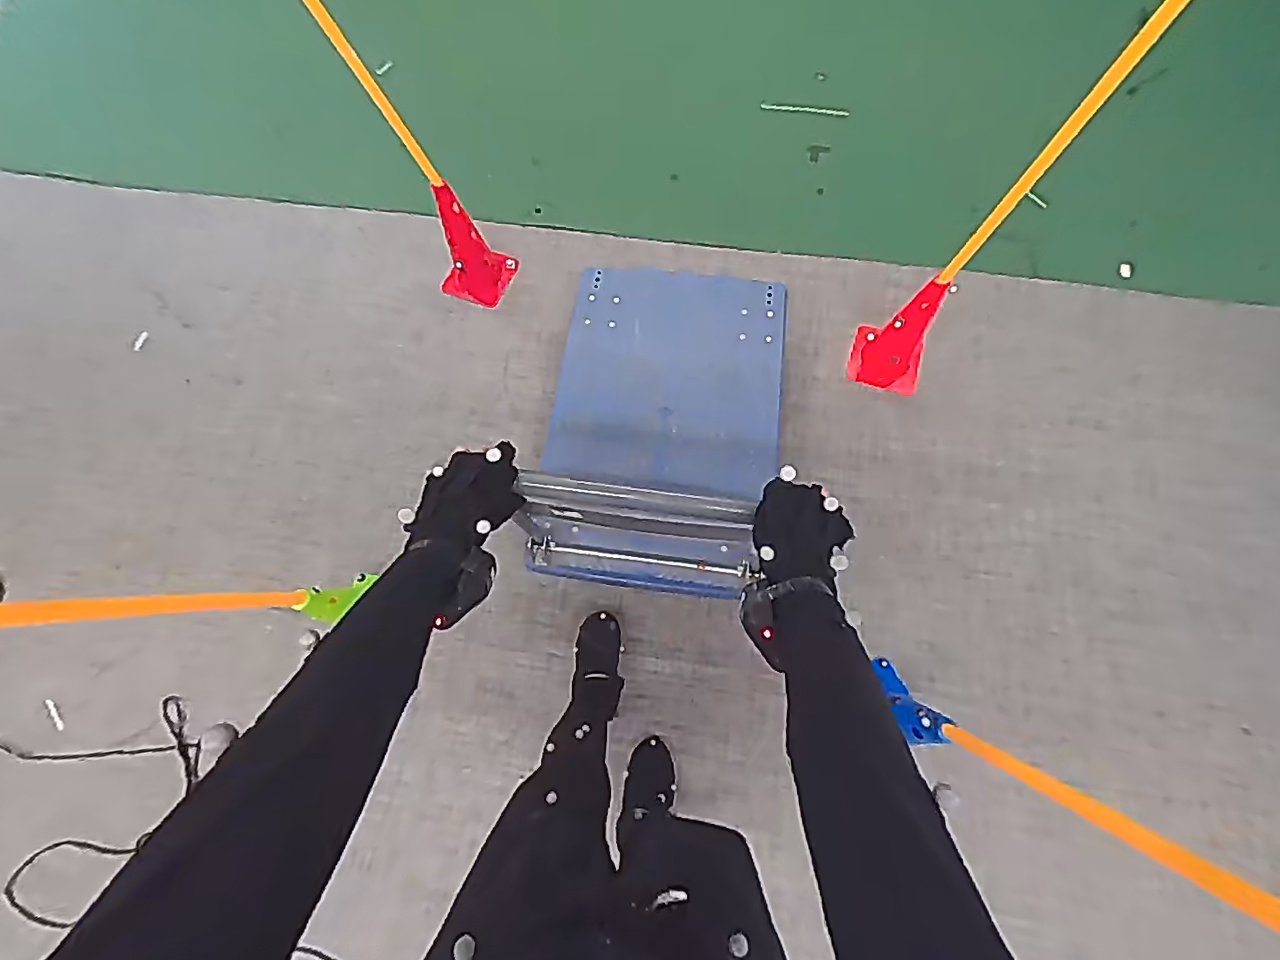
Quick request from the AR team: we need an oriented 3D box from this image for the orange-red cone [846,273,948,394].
[{"bbox_3d":[0.719,-0.414,1.443,0.198,0.360,0.199,18,73,9],"label":"orange-red cone"}]
